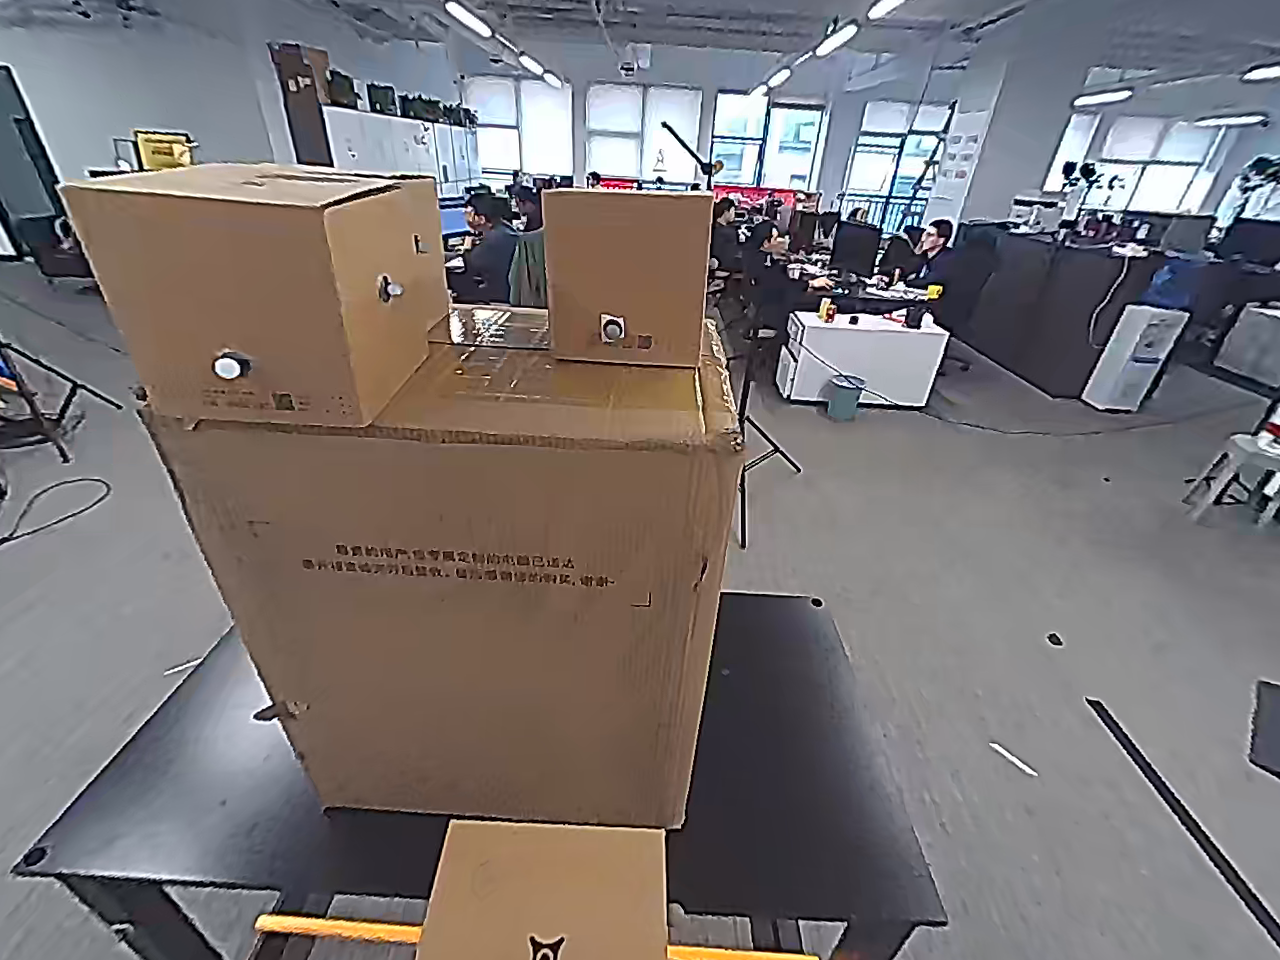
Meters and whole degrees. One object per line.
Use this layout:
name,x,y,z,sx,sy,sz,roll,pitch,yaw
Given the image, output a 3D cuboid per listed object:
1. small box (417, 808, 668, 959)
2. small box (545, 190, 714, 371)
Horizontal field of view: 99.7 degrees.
small box,-0.070,0.375,0.400,0.168,0.176,0.179,4,39,-2
small box,-0.007,-0.235,0.623,0.168,0.176,0.179,2,30,3
